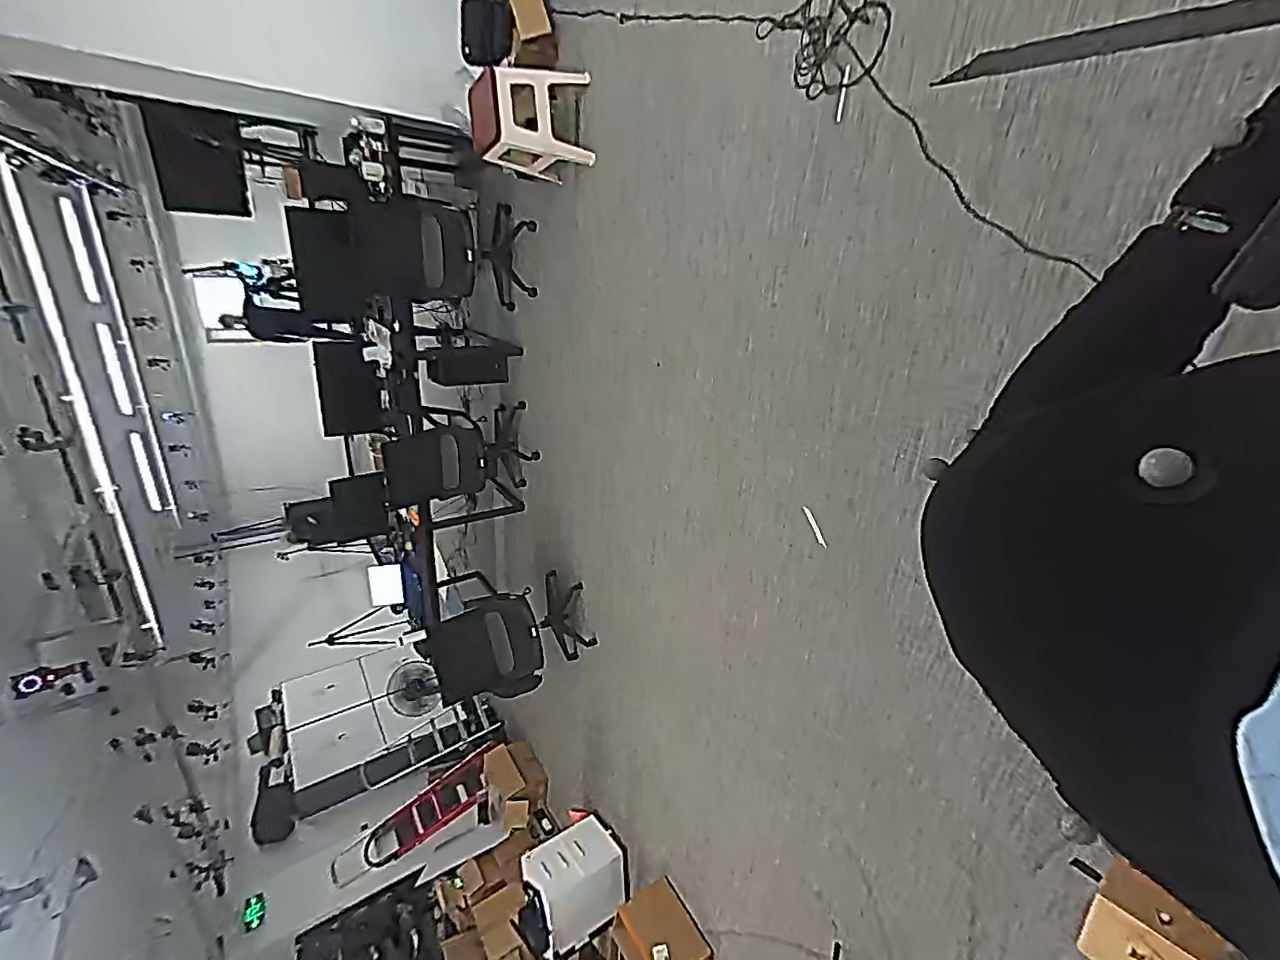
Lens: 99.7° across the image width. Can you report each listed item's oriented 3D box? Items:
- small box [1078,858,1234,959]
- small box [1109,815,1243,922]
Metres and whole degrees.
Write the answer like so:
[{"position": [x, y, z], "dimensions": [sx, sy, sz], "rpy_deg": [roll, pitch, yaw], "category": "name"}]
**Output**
[{"position": [1.035, 0.909, 1.087], "dimensions": [0.179, 0.176, 0.168], "rpy_deg": [22, 118, 50], "category": "small box"}, {"position": [1.163, 0.888, 1.185], "dimensions": [0.168, 0.176, 0.179], "rpy_deg": [34, 127, 46], "category": "small box"}]
